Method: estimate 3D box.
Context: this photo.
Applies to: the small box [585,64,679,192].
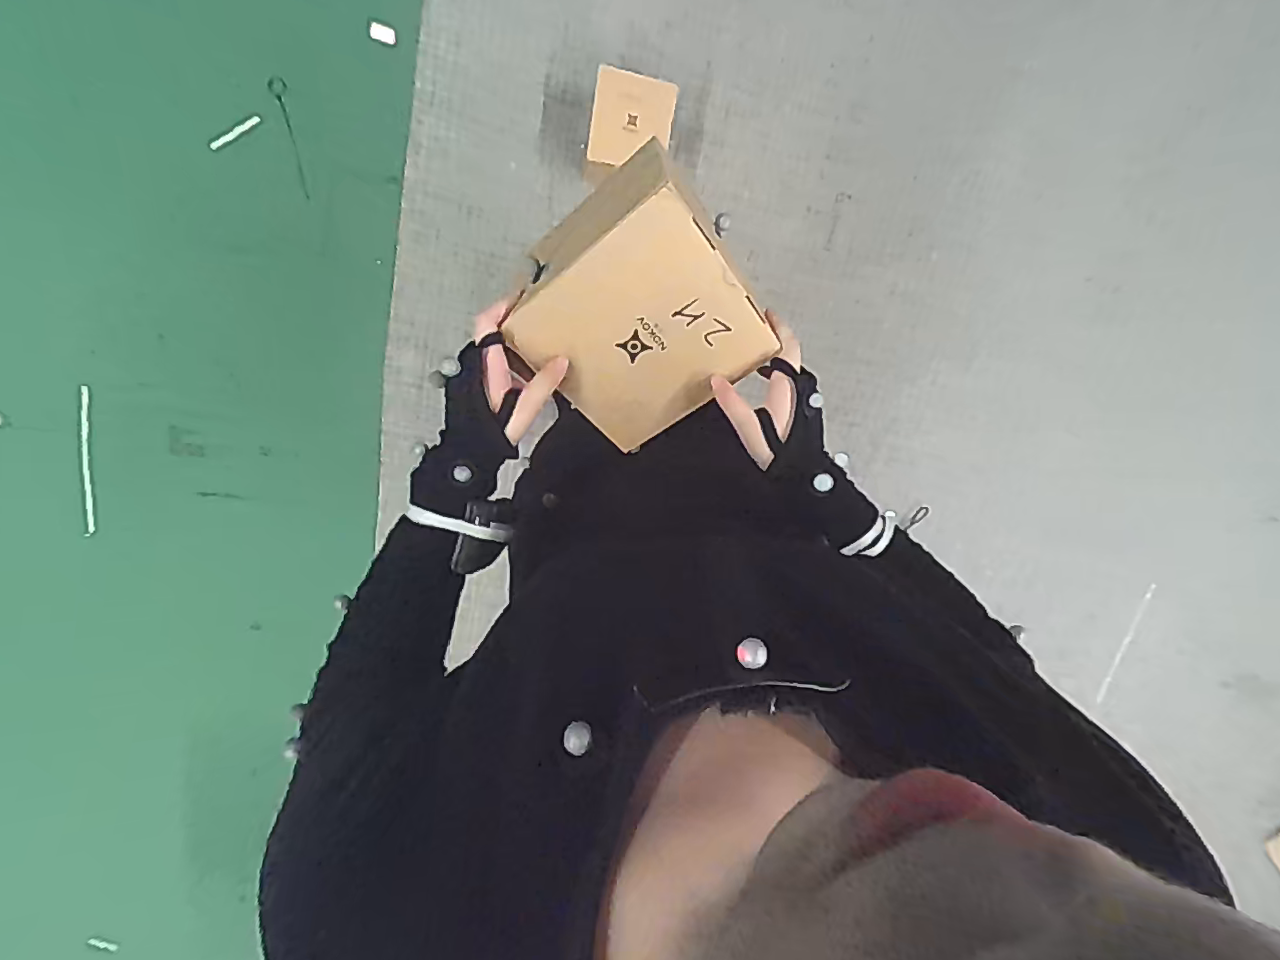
[{"bbox_3d":[-0.026,-0.756,1.186,0.168,0.176,0.179,8,105,-11],"label":"small box"}]
